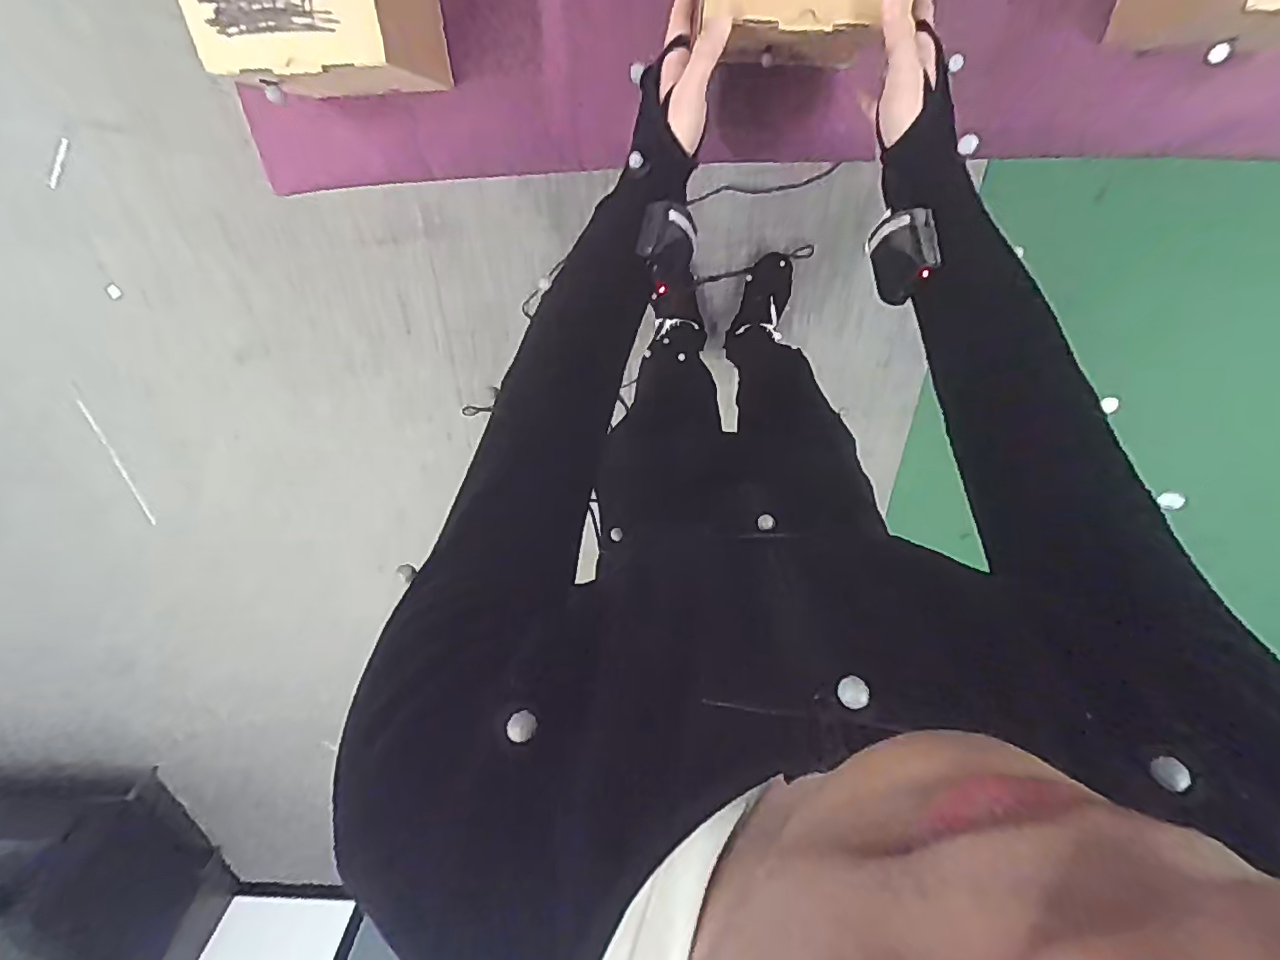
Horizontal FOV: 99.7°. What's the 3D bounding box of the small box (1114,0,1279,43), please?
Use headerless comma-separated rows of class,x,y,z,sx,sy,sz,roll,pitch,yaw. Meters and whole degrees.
small box,0.549,-0.482,0.436,0.168,0.176,0.179,3,121,3

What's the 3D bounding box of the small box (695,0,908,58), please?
small box,0.138,-0.488,0.463,0.168,0.176,0.179,3,121,1
